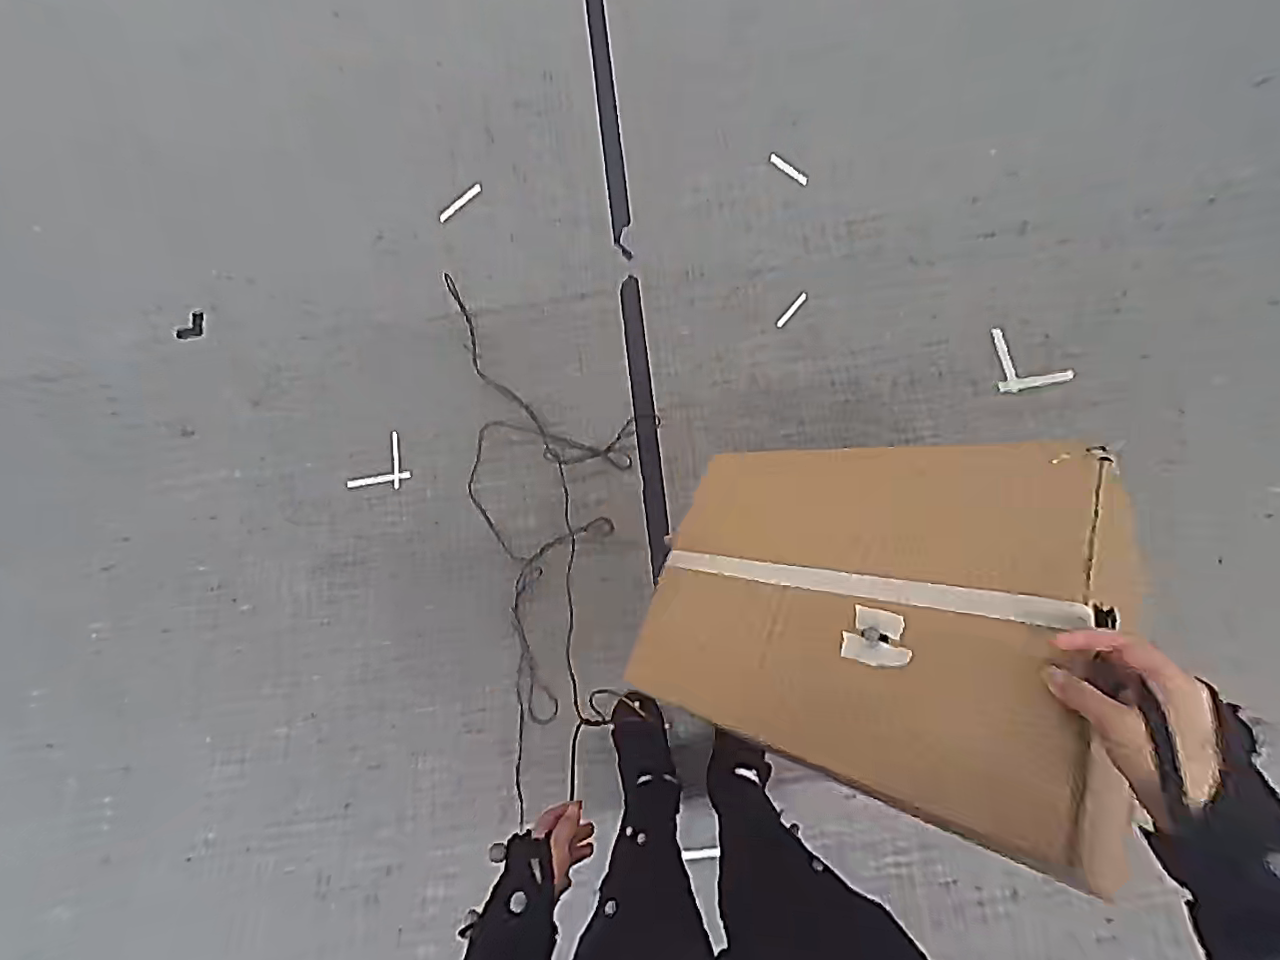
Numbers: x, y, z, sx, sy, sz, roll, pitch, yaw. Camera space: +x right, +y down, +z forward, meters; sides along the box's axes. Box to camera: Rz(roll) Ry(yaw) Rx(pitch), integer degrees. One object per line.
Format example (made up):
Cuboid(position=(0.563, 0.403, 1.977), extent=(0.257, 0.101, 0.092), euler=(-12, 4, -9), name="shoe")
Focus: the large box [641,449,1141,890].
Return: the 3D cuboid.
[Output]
Cuboid(position=(0.284, 0.183, 0.624), extent=(0.320, 0.408, 0.320), euler=(39, 65, -35), name="large box")
